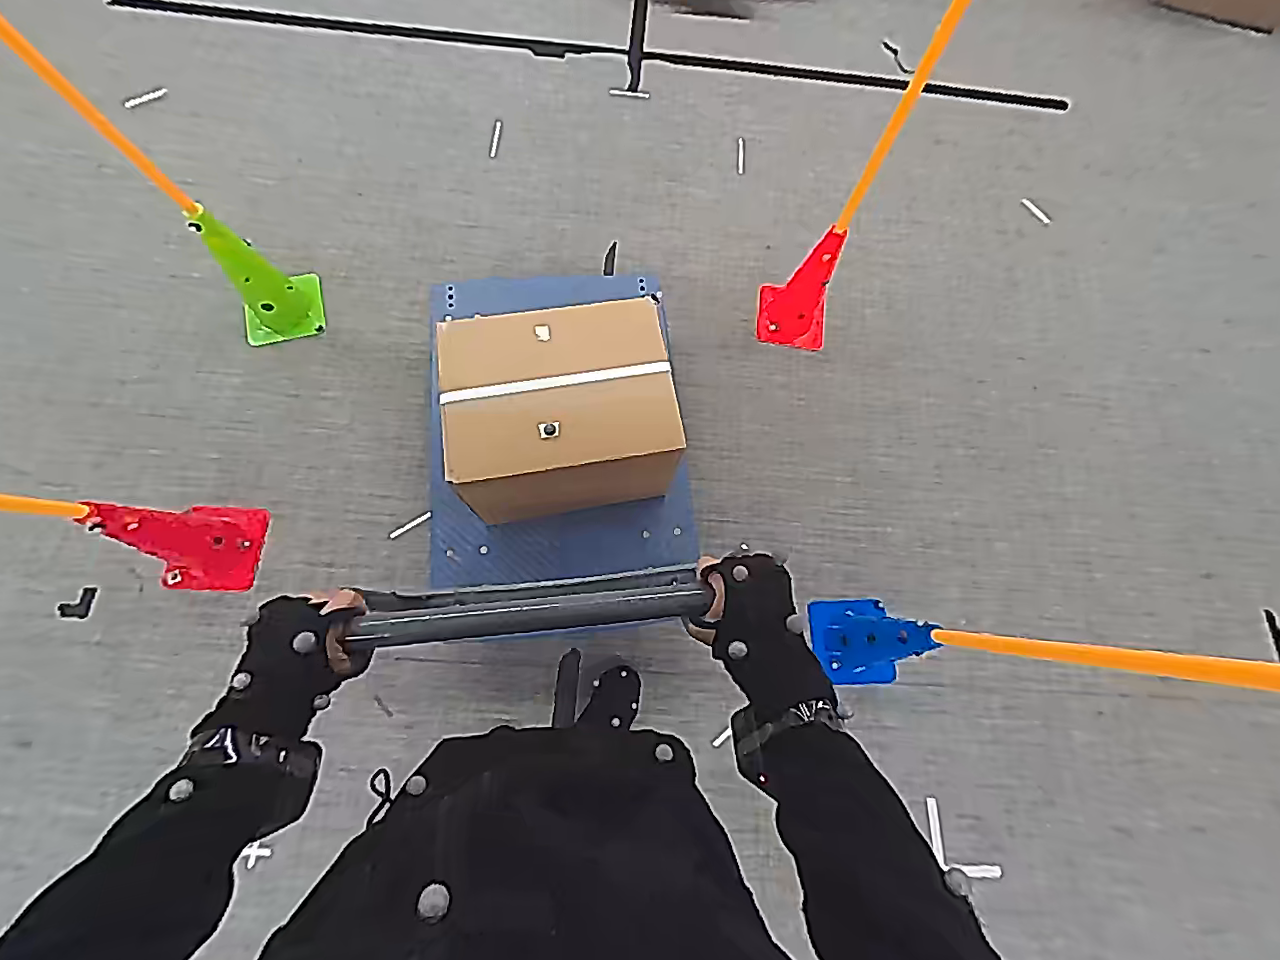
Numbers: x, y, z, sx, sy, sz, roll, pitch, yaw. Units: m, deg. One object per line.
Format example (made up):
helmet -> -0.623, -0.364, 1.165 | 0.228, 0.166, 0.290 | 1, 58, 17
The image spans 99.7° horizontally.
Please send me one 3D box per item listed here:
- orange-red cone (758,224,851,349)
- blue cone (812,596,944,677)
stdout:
orange-red cone -> 0.468, -0.538, 1.440 | 0.199, 0.360, 0.198 | 11, 72, -2
blue cone -> 0.540, 0.332, 1.182 | 0.193, 0.380, 0.192 | 1, 71, -4
